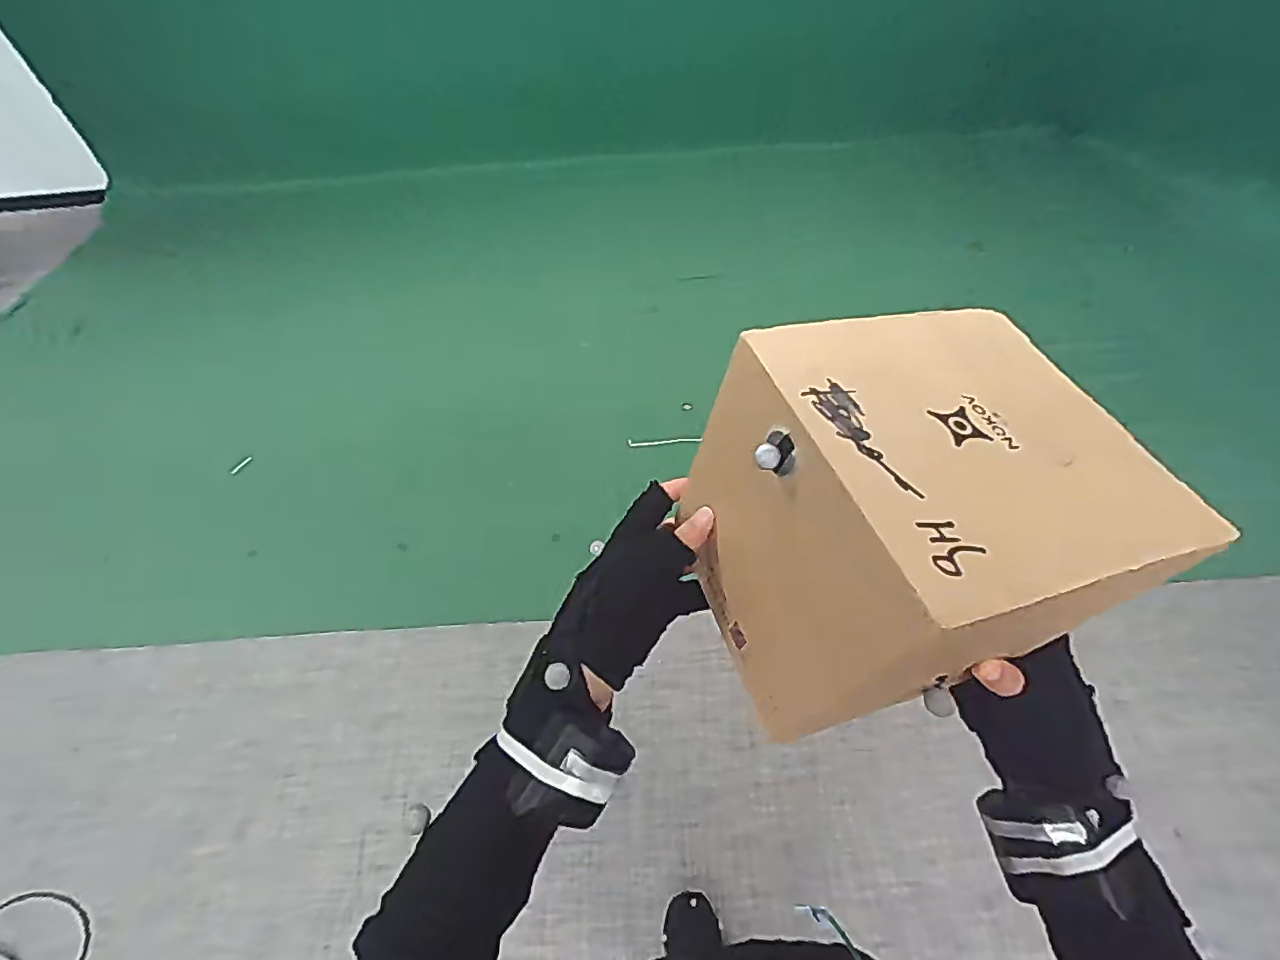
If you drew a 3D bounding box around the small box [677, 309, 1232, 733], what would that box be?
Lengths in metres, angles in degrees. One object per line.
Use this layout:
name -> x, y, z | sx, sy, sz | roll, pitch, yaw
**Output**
small box -> 0.142, 0.023, 0.313 | 0.179, 0.176, 0.168 | -9, 54, -19
